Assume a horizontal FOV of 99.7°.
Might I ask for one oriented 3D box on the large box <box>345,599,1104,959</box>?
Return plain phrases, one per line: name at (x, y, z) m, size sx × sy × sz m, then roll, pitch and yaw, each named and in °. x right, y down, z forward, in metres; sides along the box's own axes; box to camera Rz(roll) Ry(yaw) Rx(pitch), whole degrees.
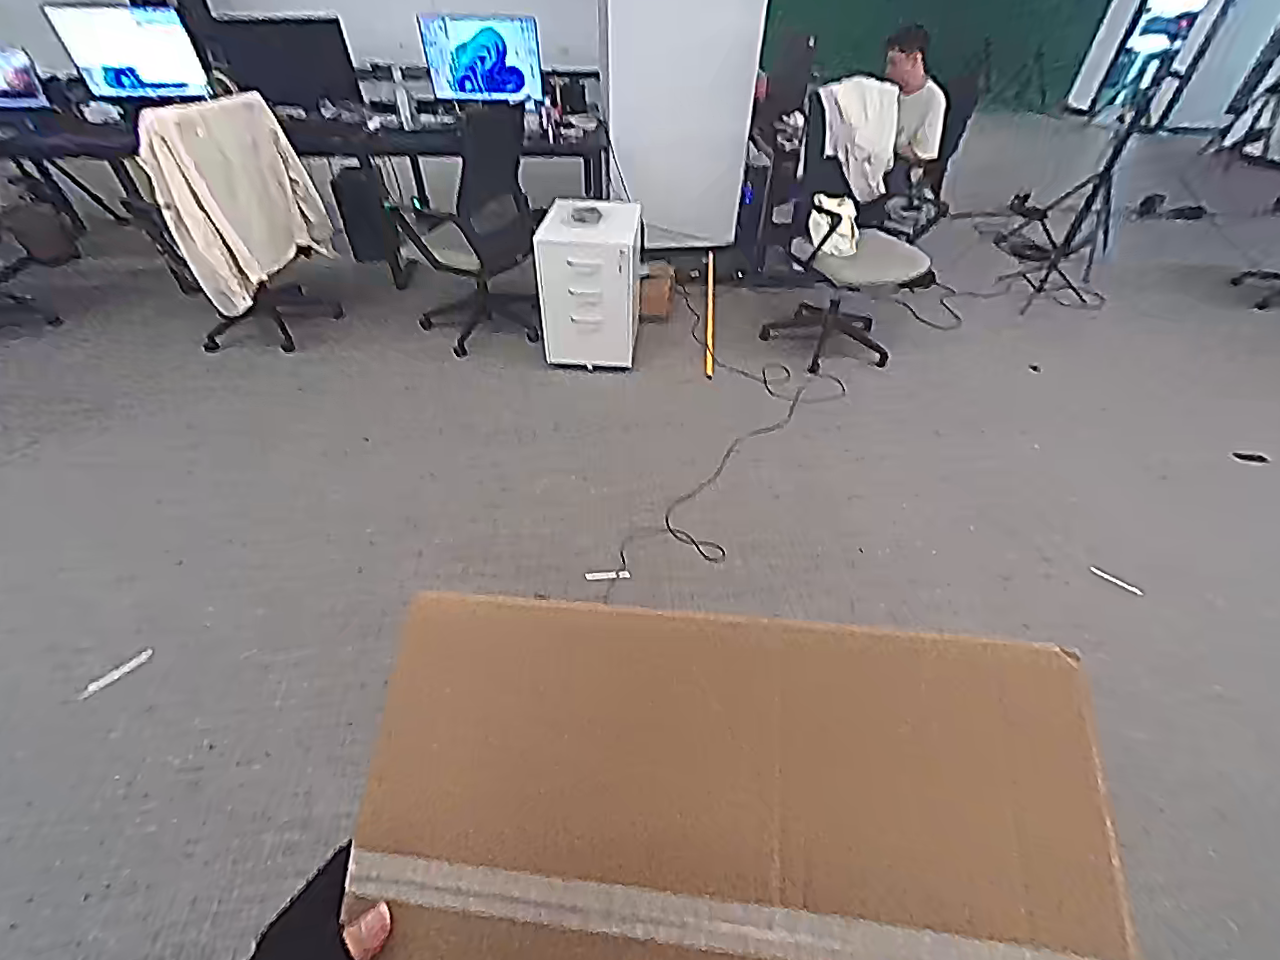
large box at (0.050, 0.287, 0.433) m, size 0.408 × 0.320 × 0.320 m, roll 3°, pitch 70°, yaw 8°
